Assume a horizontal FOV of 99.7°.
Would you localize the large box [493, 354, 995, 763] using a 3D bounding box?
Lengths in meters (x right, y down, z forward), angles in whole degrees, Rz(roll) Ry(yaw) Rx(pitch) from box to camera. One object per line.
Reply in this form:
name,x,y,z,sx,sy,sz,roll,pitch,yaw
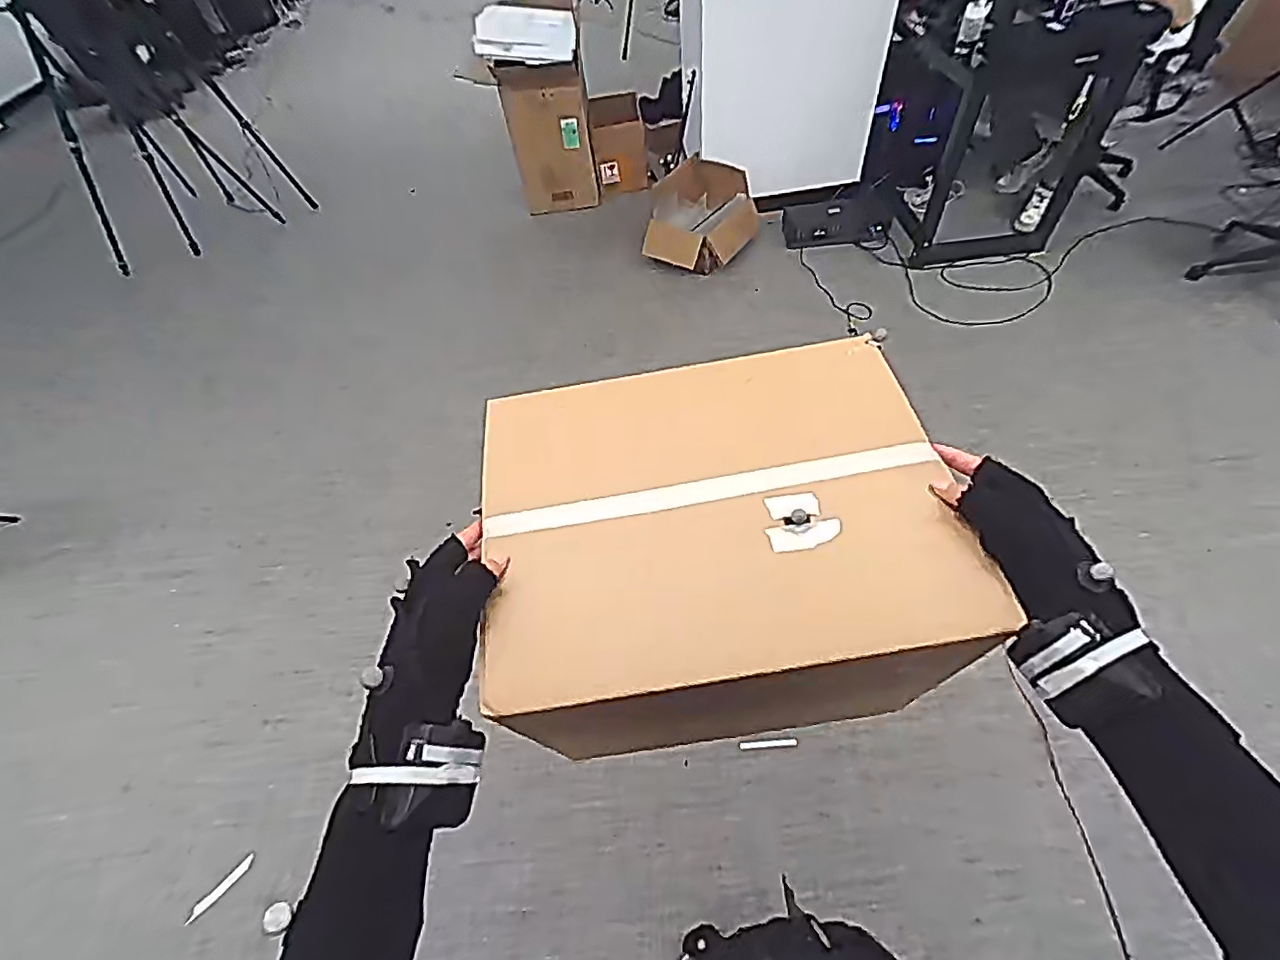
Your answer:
large box,0.072,0.105,0.621,0.408,0.320,0.320,-10,57,0
